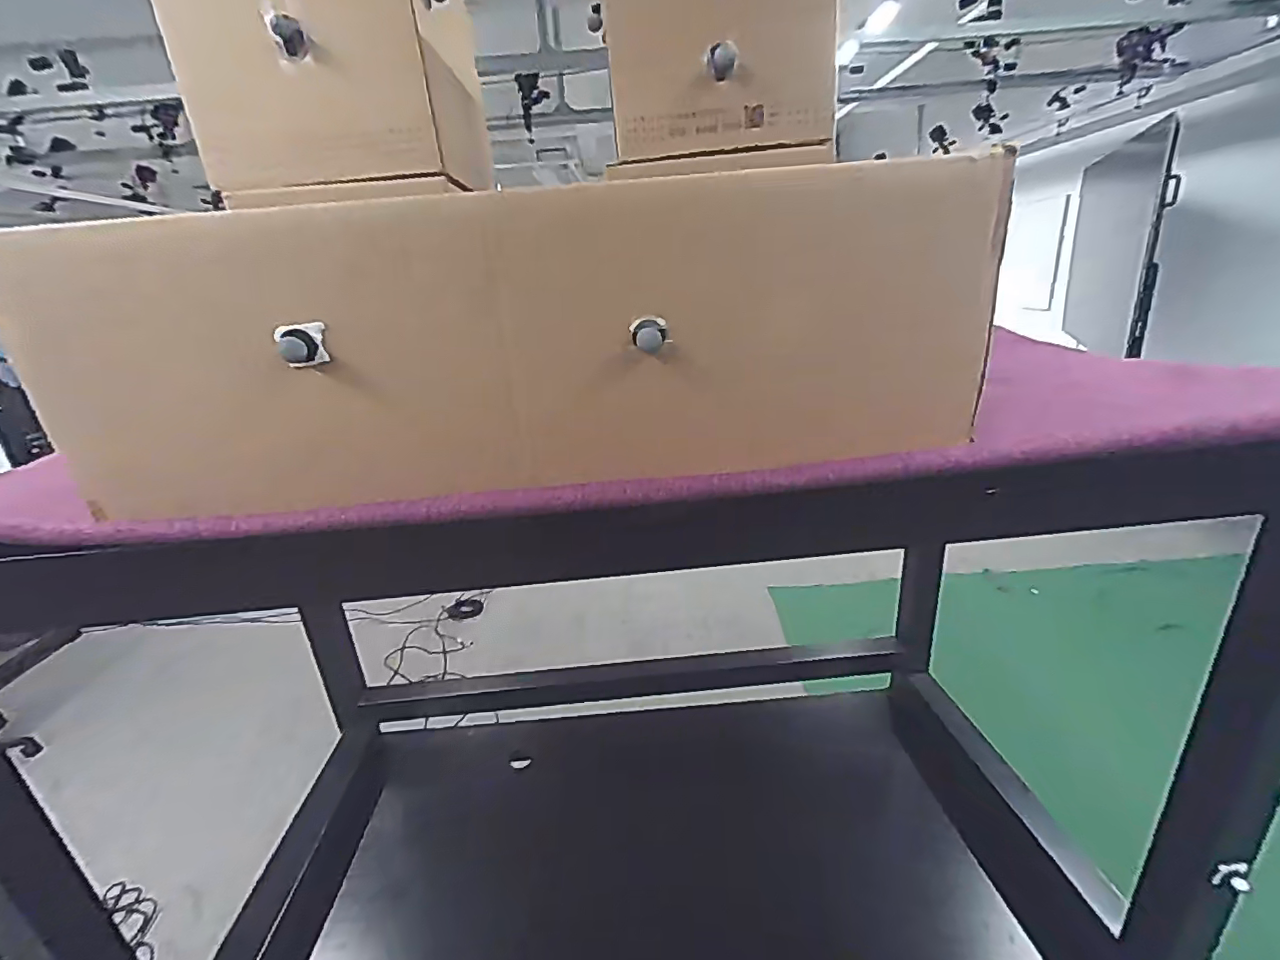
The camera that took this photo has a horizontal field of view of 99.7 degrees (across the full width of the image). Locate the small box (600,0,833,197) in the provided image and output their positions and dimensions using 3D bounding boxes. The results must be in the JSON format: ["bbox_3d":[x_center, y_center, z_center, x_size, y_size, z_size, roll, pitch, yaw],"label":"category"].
[{"bbox_3d":[0.055,-0.349,0.459,0.168,0.176,0.179,-6,20,2],"label":"small box"}]
